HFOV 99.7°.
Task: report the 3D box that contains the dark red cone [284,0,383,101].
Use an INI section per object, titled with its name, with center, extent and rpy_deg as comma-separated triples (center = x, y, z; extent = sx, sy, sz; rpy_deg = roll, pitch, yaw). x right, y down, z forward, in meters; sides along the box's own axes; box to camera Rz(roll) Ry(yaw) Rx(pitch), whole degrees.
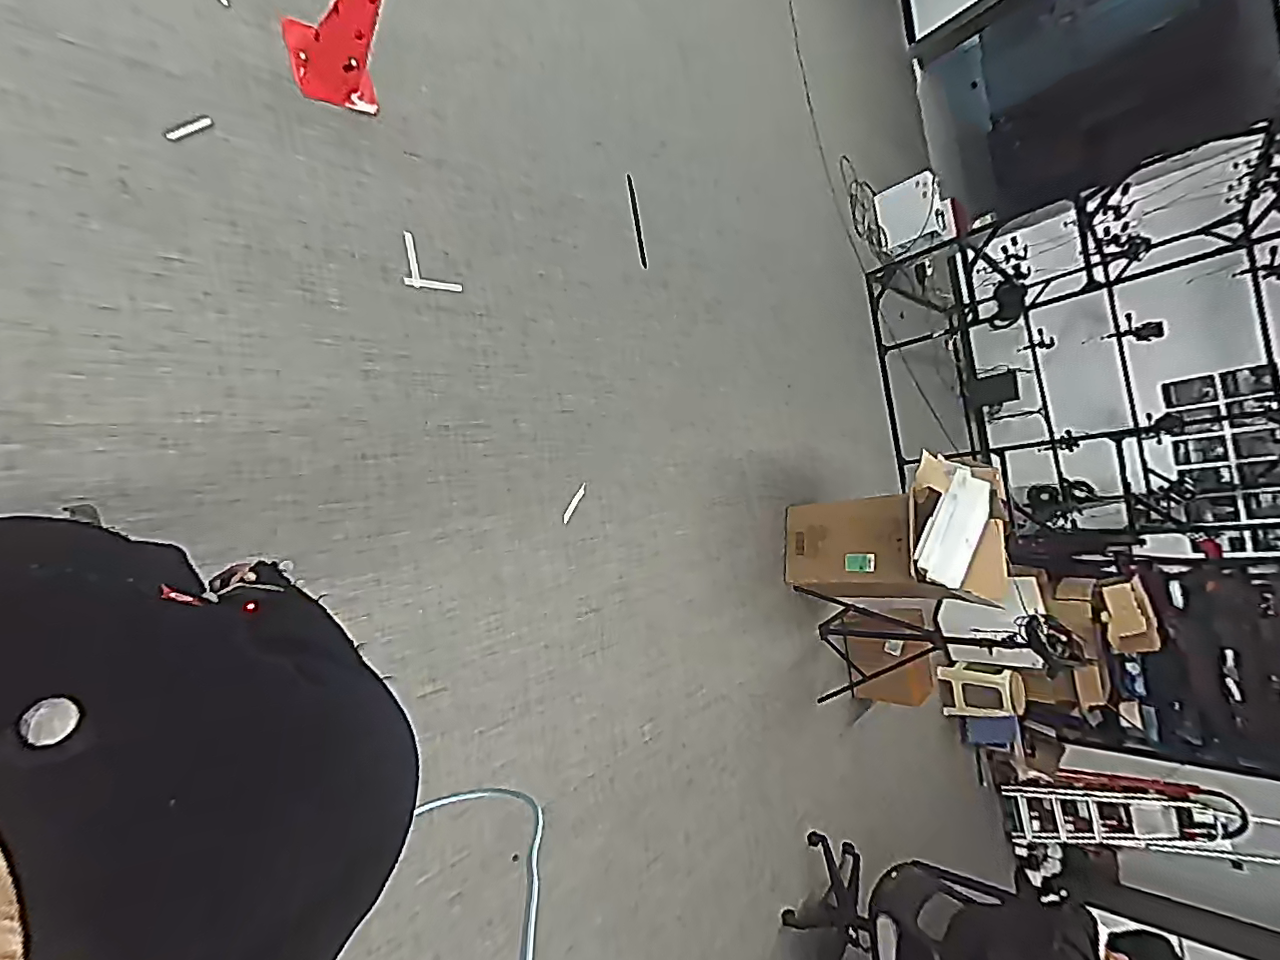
[dark red cone]
center = -0.670, -1.114, 1.272
extent = 0.201, 0.394, 0.202
rpy_deg = -17, 95, -44
